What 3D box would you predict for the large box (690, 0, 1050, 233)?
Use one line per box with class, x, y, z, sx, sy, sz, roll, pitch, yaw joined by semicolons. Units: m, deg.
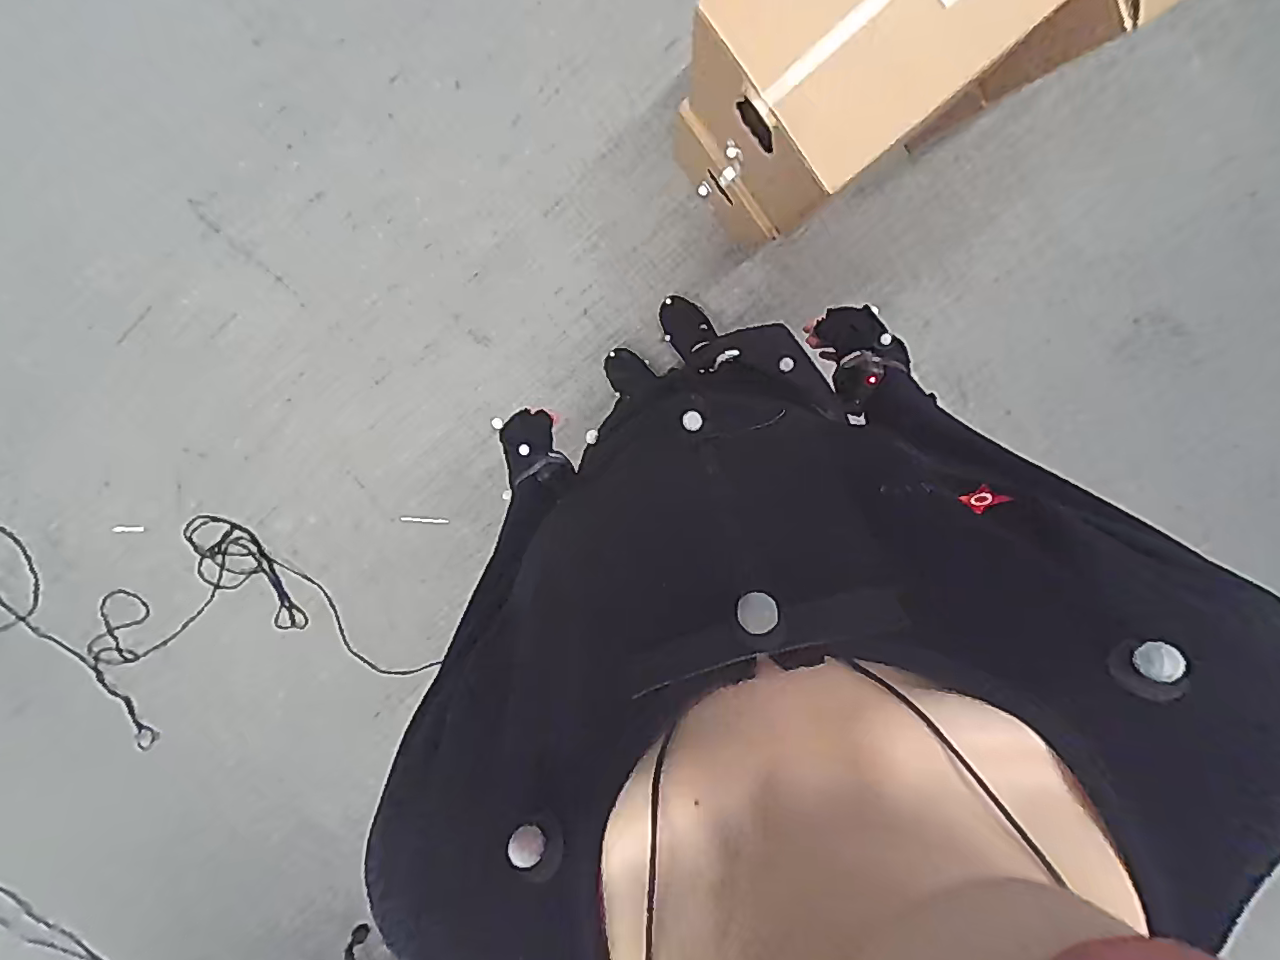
large box;0.325;-0.673;0.840;0.408;0.320;0.320;-38;98;11
